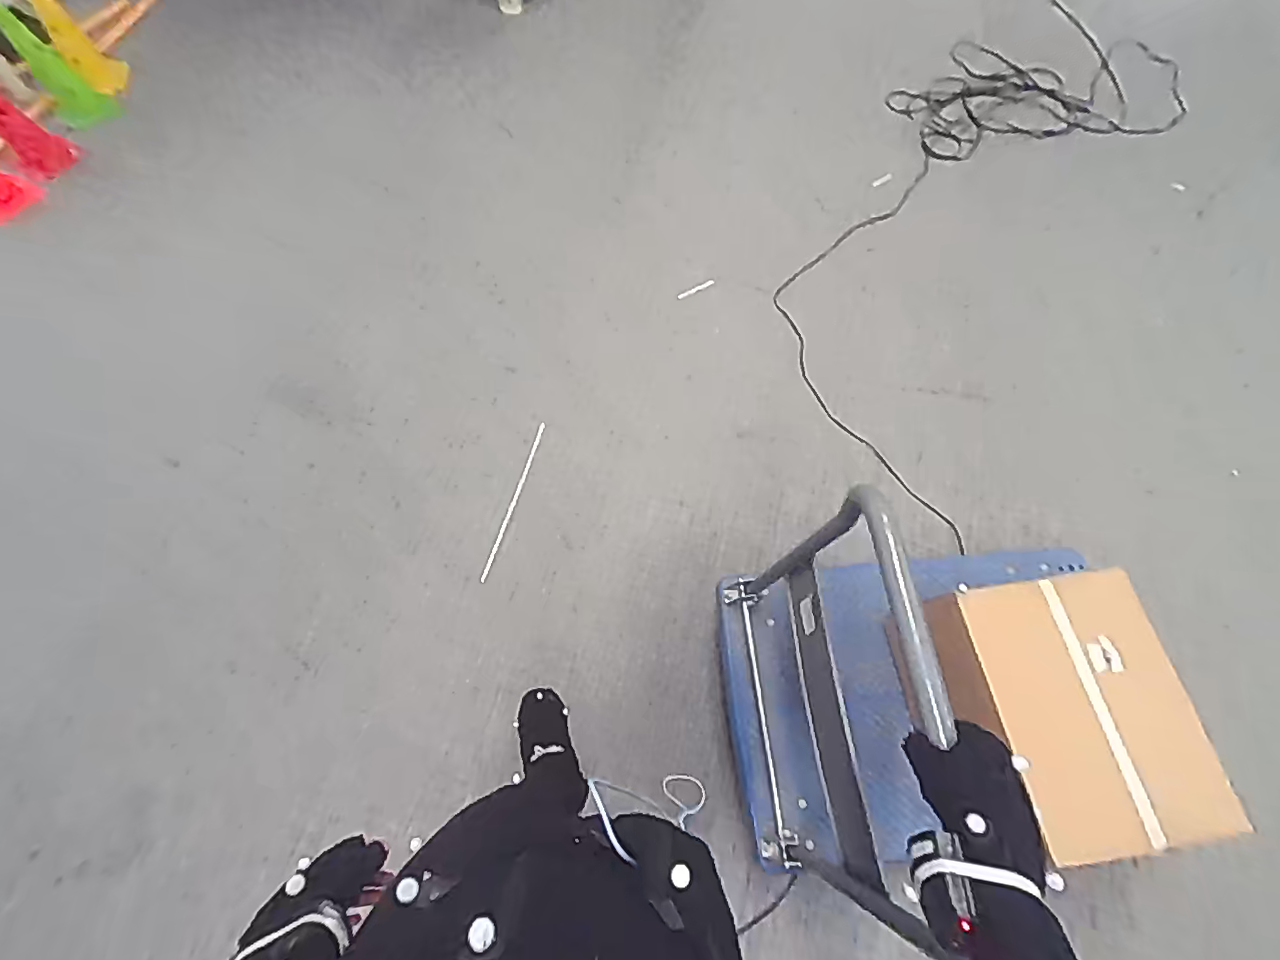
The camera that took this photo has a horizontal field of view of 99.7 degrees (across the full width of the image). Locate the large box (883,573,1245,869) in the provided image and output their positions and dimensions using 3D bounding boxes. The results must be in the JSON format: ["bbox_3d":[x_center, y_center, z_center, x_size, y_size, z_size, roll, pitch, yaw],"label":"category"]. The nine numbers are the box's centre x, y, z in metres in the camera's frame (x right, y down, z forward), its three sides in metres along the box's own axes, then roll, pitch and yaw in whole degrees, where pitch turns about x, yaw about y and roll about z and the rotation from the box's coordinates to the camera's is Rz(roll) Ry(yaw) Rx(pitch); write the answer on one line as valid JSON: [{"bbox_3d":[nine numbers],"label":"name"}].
[{"bbox_3d":[0.711,0.422,0.996,0.320,0.320,0.408,-6,67,-4],"label":"large box"}]
